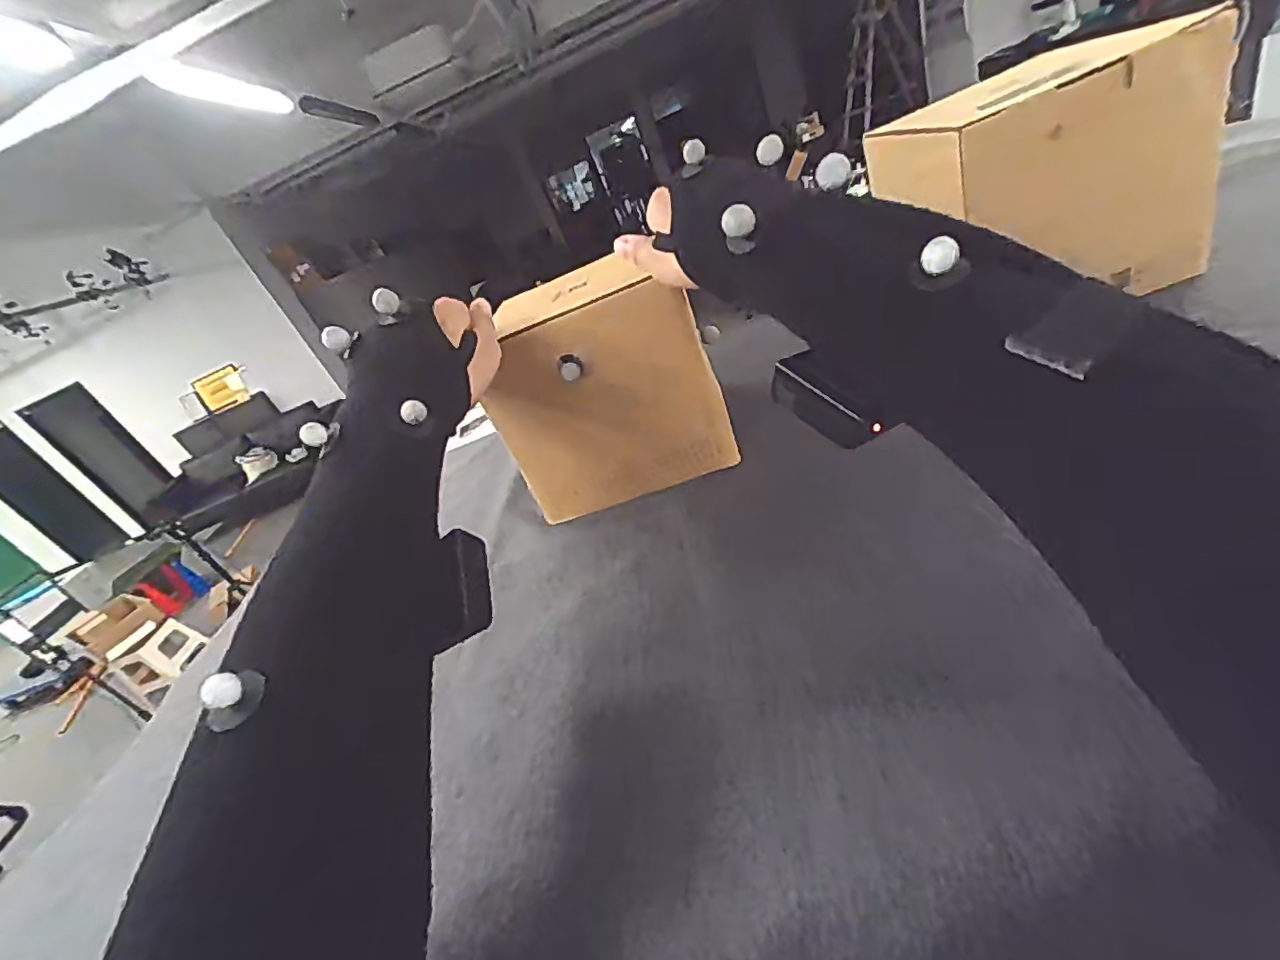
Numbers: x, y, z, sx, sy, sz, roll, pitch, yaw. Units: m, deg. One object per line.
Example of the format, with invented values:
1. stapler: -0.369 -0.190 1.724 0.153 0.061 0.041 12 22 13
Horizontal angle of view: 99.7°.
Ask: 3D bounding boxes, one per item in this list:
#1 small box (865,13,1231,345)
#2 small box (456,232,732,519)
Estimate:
1. small box: 0.313 -0.231 0.449 0.168 0.176 0.179 -19 29 10
2. small box: -0.024 -0.093 0.485 0.179 0.176 0.168 -19 30 13
